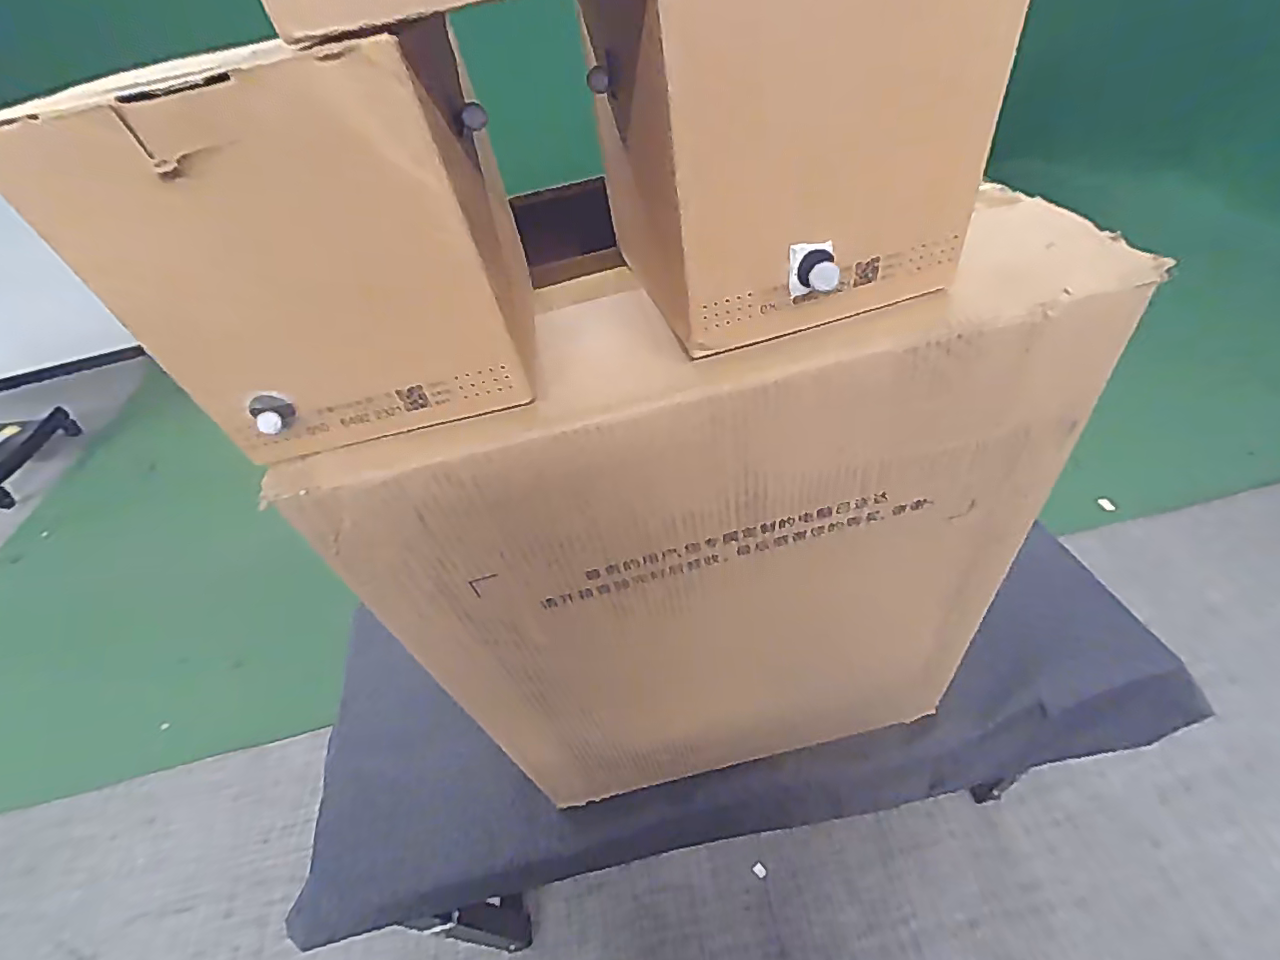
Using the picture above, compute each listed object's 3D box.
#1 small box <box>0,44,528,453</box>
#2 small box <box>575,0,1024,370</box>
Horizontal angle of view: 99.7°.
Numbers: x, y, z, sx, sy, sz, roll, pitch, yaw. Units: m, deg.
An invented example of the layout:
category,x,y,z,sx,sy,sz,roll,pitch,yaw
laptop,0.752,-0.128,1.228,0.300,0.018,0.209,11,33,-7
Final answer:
category,x,y,z,sx,sy,sz,roll,pitch,yaw
small box,-0.169,-0.133,0.313,0.168,0.176,0.179,-13,43,1
small box,0.069,-0.193,0.318,0.168,0.176,0.179,-19,46,-4
